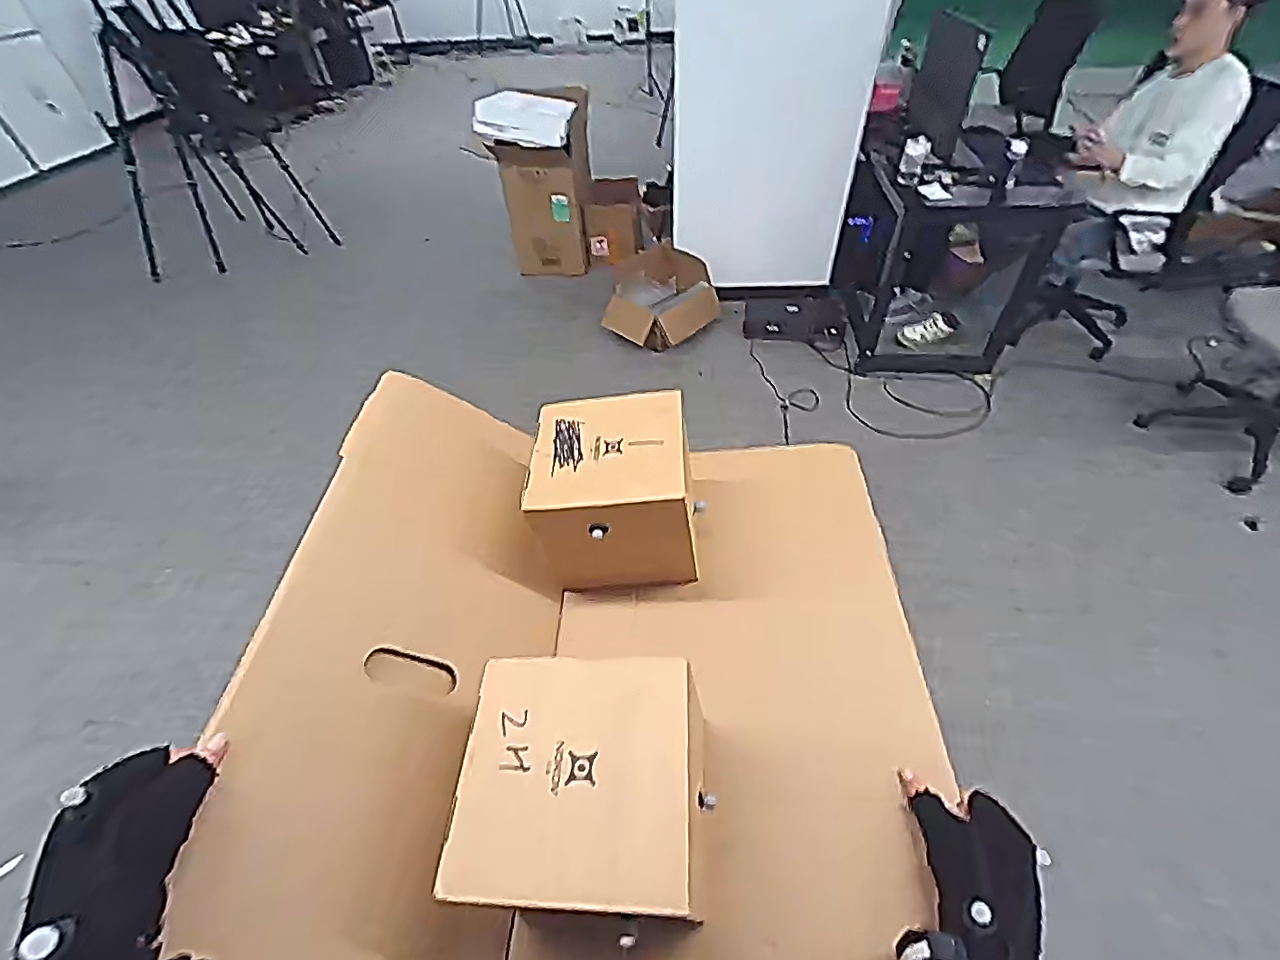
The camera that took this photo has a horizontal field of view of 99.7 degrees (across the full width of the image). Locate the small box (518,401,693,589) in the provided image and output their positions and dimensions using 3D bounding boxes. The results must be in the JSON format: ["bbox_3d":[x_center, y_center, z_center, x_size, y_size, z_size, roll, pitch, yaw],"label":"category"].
[{"bbox_3d":[-0.031,0.025,0.678,0.179,0.176,0.168,-5,49,7],"label":"small box"}]
